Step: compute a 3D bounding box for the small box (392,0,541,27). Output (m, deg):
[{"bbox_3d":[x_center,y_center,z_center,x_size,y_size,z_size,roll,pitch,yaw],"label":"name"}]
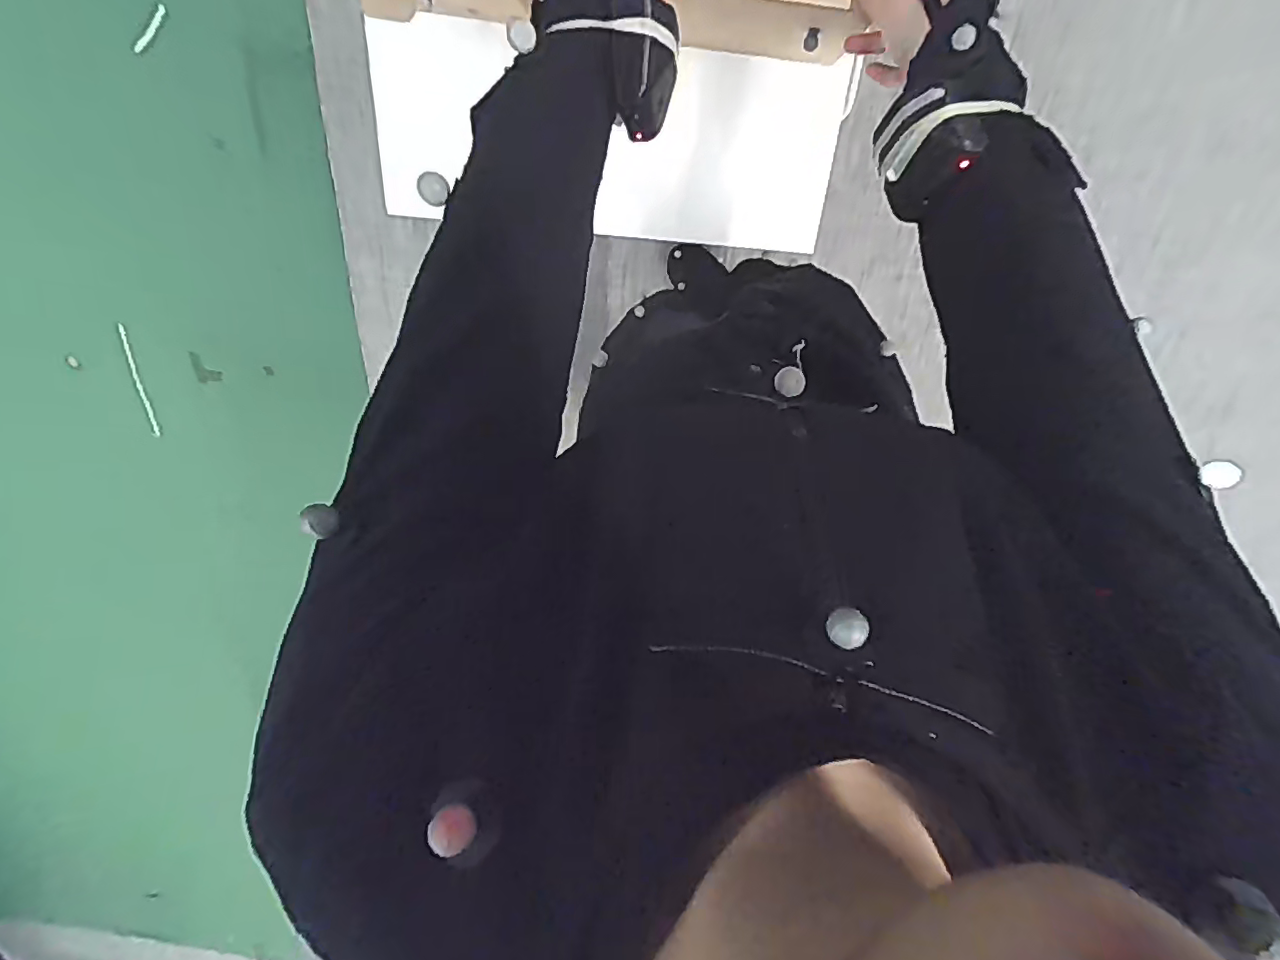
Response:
[{"bbox_3d":[-0.175,-0.513,0.440,0.168,0.176,0.179,9,117,1],"label":"small box"}]
